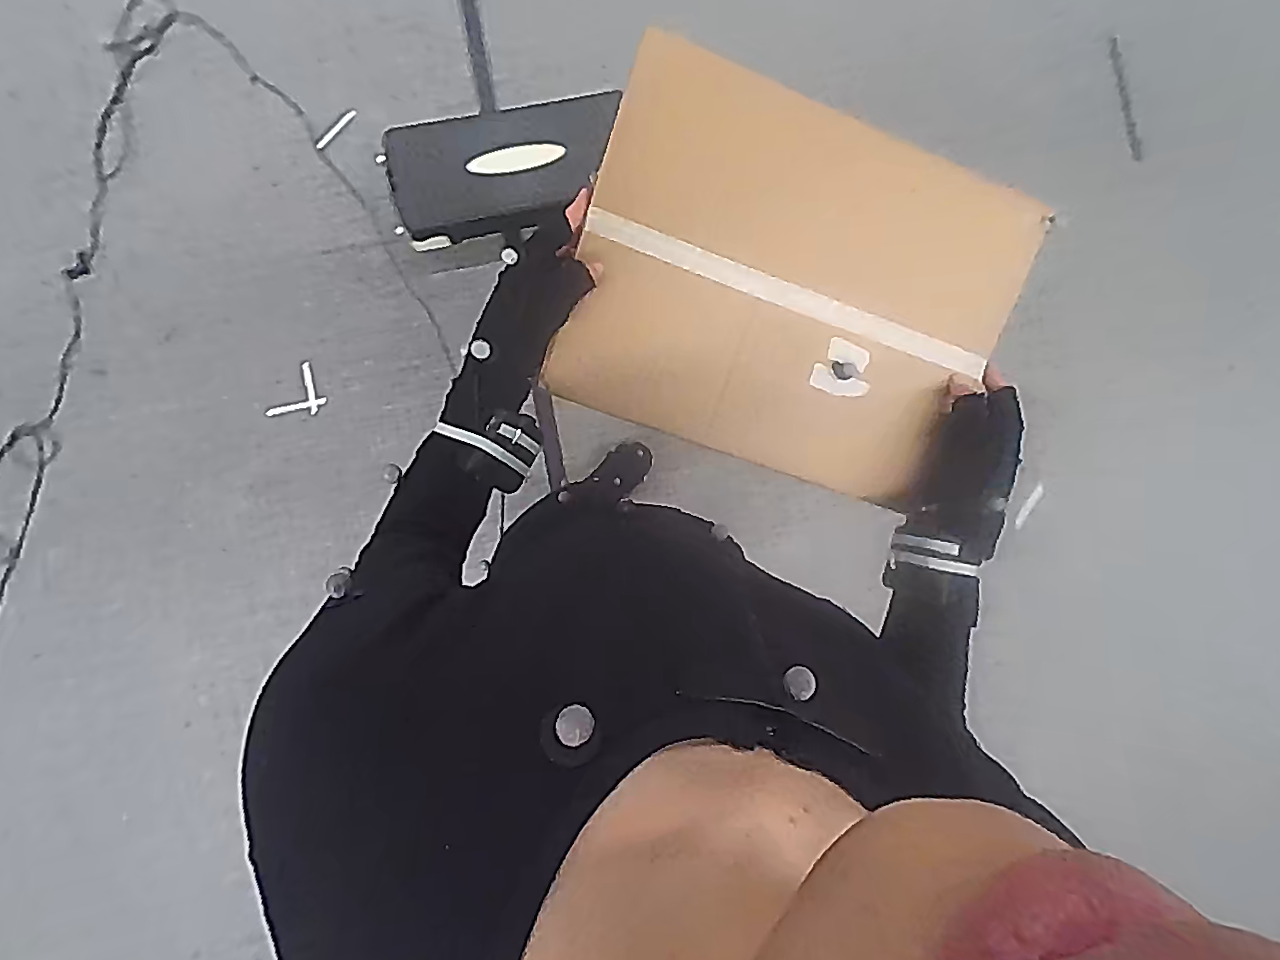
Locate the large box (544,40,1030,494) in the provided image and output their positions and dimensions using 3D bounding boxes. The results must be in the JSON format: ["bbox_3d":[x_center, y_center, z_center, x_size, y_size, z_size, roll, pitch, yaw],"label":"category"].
[{"bbox_3d":[0.124,-0.208,0.652,0.408,0.320,0.320,16,101,-9],"label":"large box"}]
